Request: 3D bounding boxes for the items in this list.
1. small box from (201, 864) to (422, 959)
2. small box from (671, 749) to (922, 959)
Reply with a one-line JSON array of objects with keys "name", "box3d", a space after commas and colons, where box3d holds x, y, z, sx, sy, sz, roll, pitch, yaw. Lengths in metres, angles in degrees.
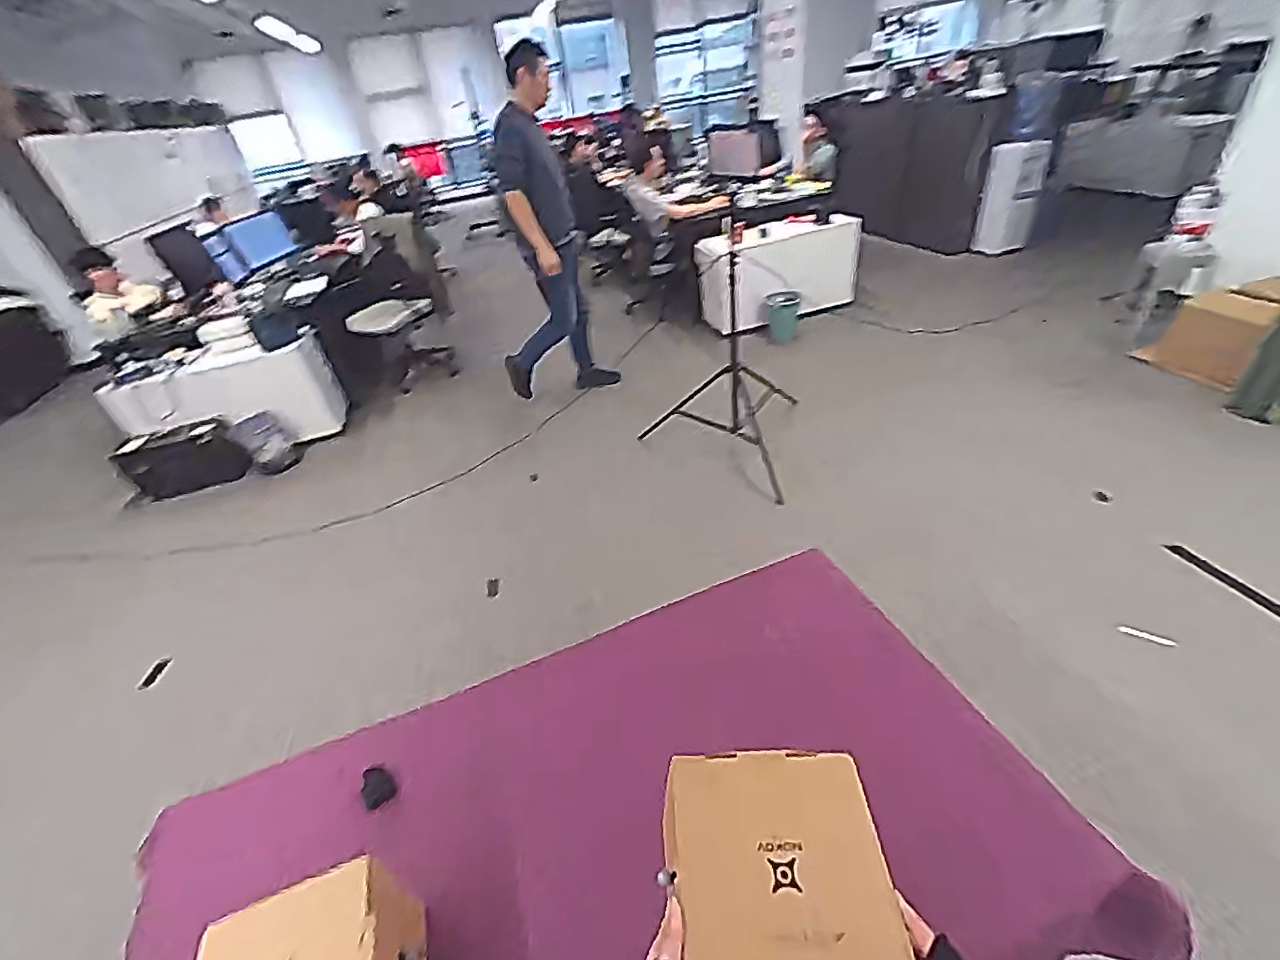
[{"name": "small box", "box3d": [-0.344, 0.565, 0.580, 0.179, 0.176, 0.168, -18, 36, -13]}, {"name": "small box", "box3d": [0.116, 0.361, 0.473, 0.168, 0.176, 0.179, -1, 41, -1]}]
